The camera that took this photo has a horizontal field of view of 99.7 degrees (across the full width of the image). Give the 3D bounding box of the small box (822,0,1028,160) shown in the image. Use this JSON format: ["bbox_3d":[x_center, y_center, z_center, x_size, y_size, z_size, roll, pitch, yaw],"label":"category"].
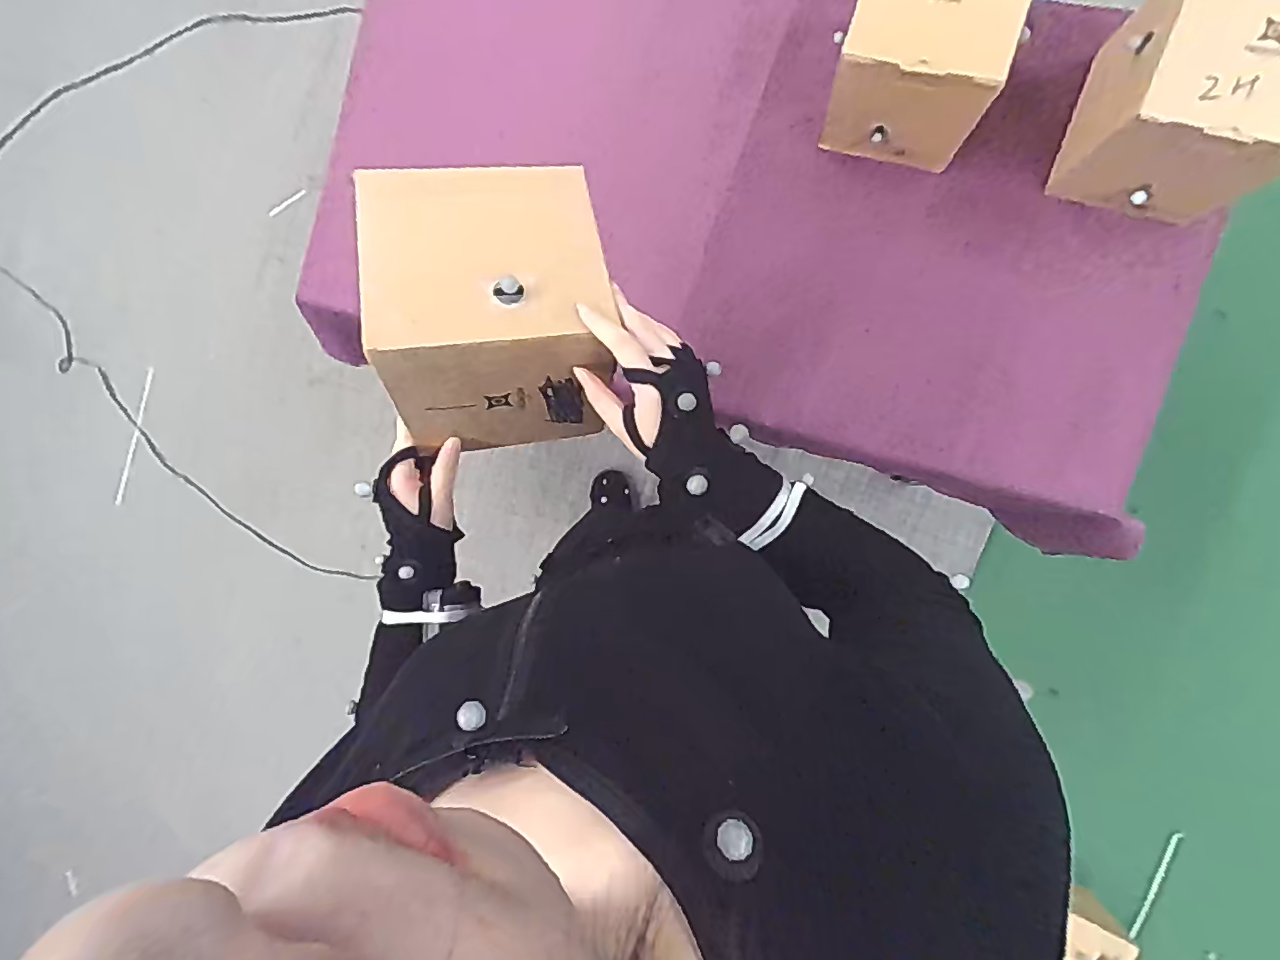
[{"bbox_3d":[0.323,-0.514,0.624,0.168,0.176,0.179,17,96,8],"label":"small box"}]

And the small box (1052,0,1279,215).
[{"bbox_3d":[0.593,-0.420,0.578,0.168,0.176,0.179,20,98,9],"label":"small box"}]

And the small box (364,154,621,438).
[{"bbox_3d":[-0.125,-0.153,0.471,0.179,0.168,0.176,-7,70,-12],"label":"small box"}]
